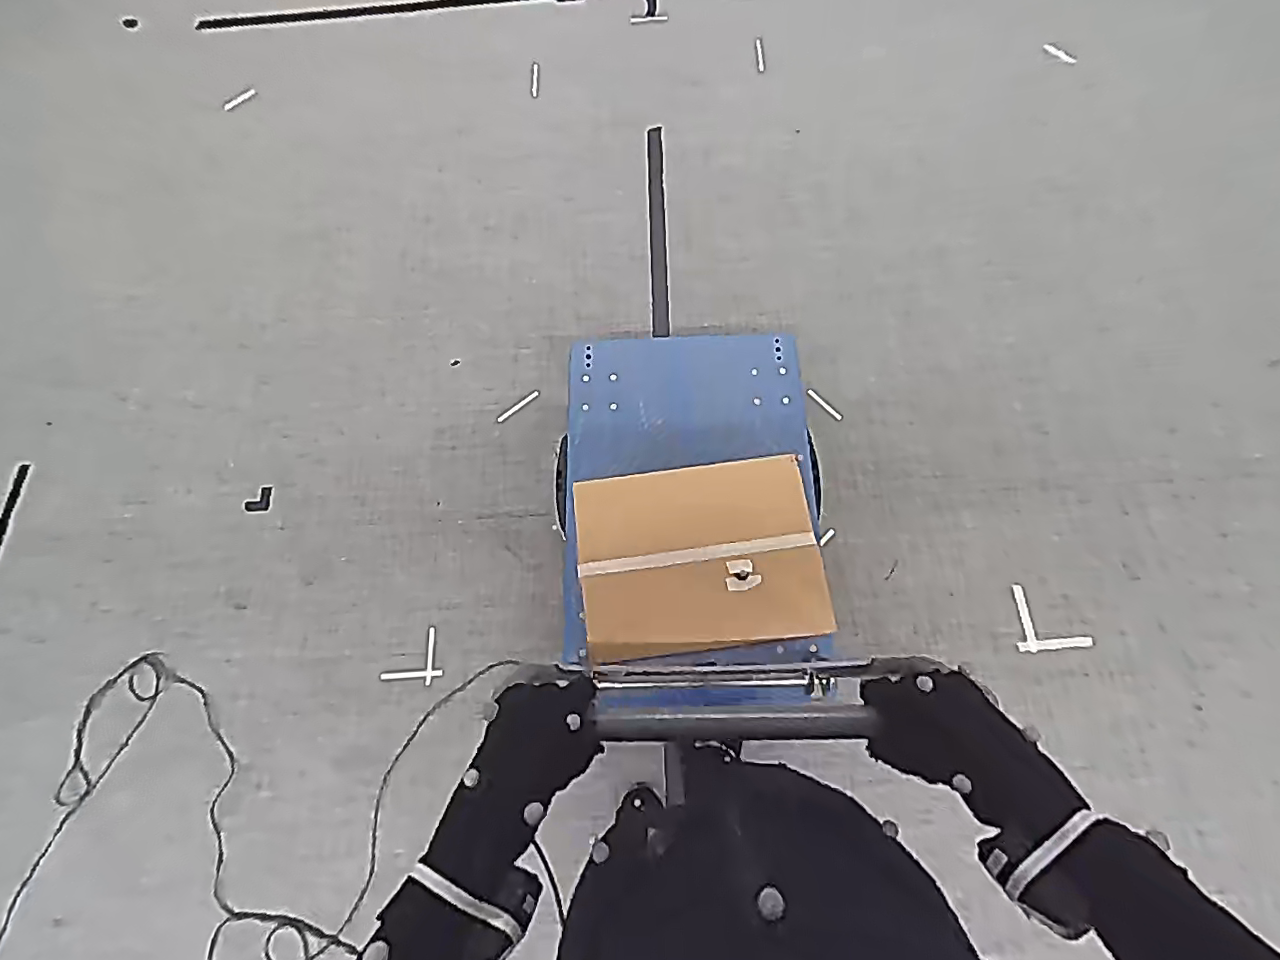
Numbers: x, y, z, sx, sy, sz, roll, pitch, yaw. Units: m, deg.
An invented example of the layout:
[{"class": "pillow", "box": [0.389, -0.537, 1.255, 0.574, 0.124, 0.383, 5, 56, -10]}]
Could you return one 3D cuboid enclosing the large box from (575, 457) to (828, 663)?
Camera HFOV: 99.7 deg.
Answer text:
[{"class": "large box", "box": [0.100, 0.176, 1.080, 0.408, 0.320, 0.320, -8, 72, -1]}]
